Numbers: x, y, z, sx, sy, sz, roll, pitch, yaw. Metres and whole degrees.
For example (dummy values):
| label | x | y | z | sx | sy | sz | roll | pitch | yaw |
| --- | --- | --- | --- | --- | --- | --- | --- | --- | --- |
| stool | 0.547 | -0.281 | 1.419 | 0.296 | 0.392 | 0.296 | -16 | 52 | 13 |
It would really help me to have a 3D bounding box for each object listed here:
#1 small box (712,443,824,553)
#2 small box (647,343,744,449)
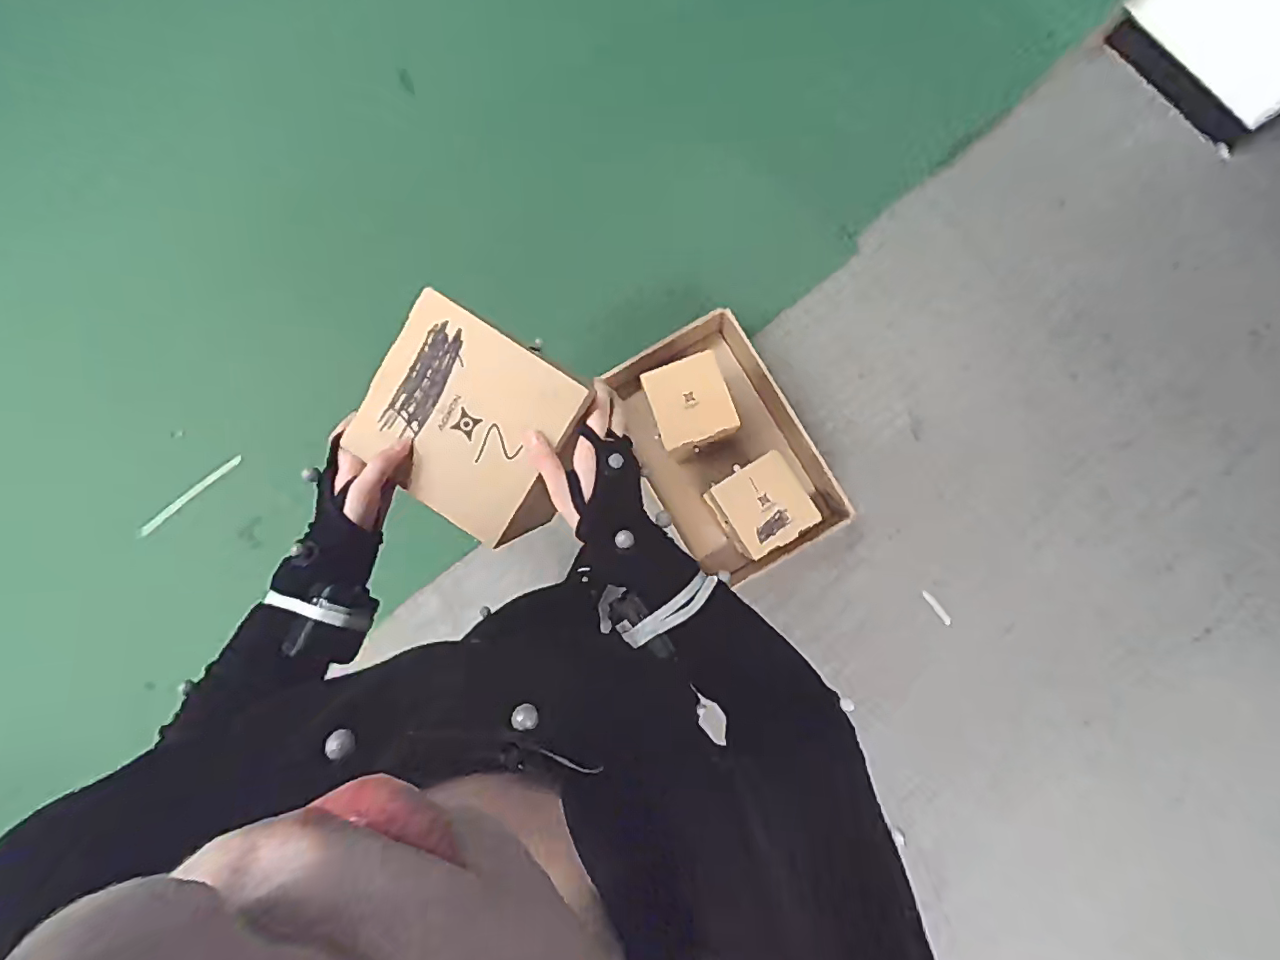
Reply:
| label | x | y | z | sx | sy | sz | roll | pitch | yaw |
| --- | --- | --- | --- | --- | --- | --- | --- | --- | --- |
| small box | 0.272 | 0.041 | 1.185 | 0.168 | 0.176 | 0.179 | -31 | 83 | 2 |
| small box | 0.118 | -0.180 | 1.214 | 0.168 | 0.176 | 0.179 | -19 | 87 | 2 |
